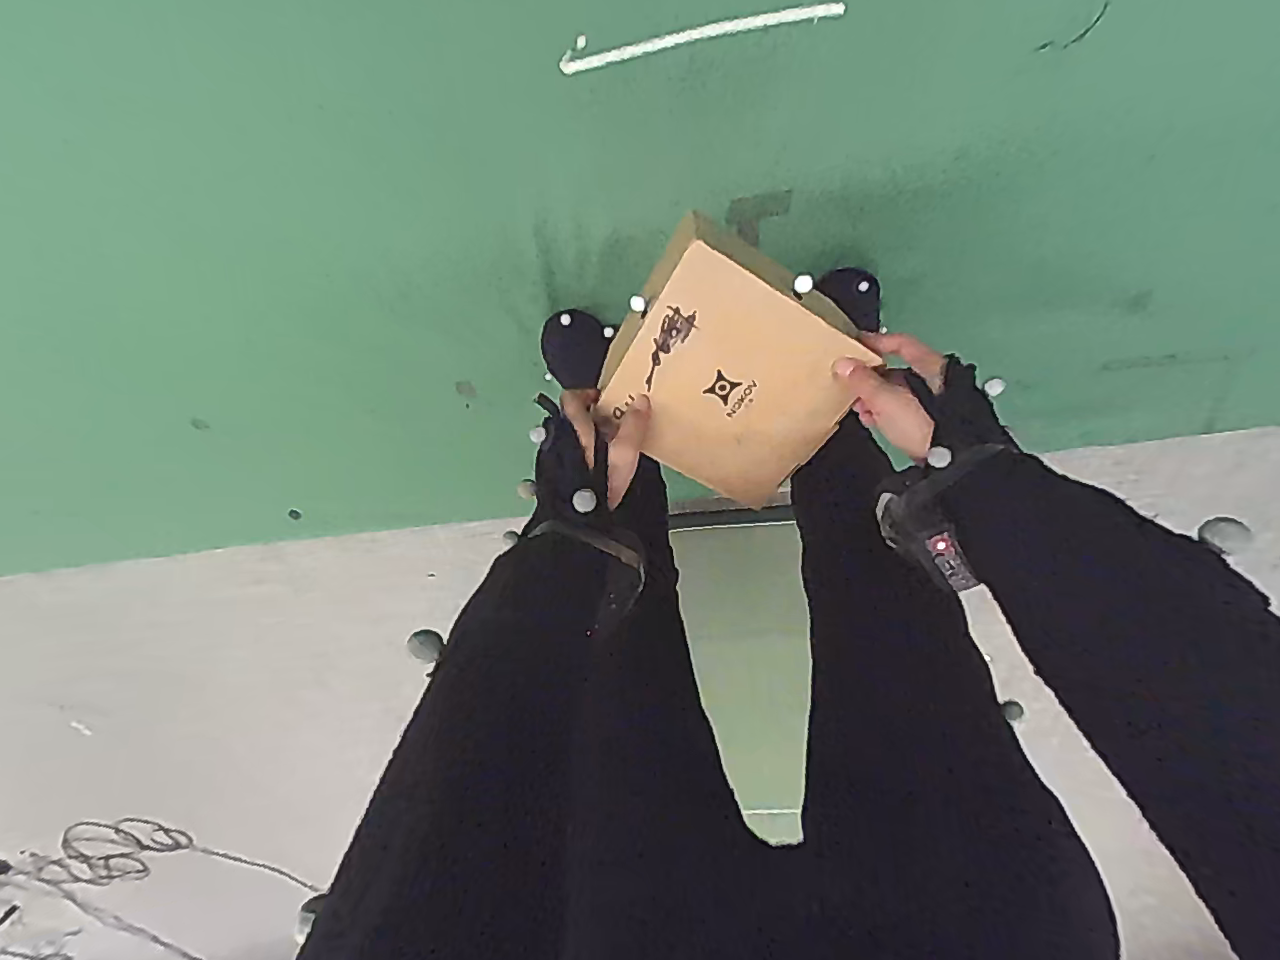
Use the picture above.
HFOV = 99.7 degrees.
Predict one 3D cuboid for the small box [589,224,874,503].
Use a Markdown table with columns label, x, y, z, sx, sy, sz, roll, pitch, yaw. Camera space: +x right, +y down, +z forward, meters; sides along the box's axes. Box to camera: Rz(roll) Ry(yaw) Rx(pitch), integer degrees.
| label | x | y | z | sx | sy | sz | roll | pitch | yaw |
| --- | --- | --- | --- | --- | --- | --- | --- | --- | --- |
| small box | 0.075 | -0.115 | 0.506 | 0.179 | 0.176 | 0.168 | 27 | 120 | -13 |
